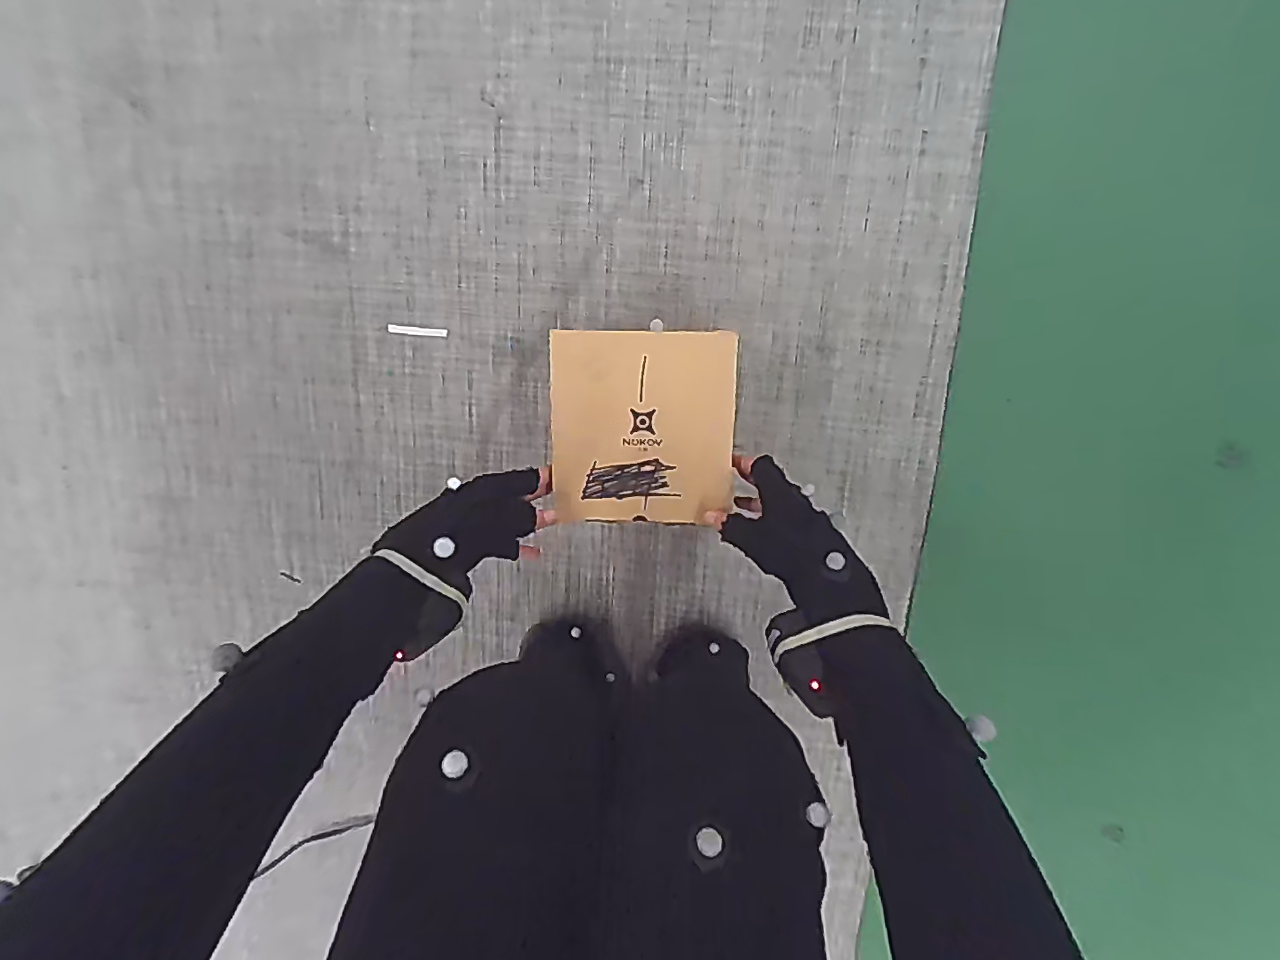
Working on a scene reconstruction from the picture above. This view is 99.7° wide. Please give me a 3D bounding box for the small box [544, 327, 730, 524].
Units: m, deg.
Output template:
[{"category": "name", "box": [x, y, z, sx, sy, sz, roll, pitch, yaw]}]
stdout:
[{"category": "small box", "box": [0.002, -0.065, 0.564, 0.168, 0.176, 0.179, 2, 102, 4]}]
